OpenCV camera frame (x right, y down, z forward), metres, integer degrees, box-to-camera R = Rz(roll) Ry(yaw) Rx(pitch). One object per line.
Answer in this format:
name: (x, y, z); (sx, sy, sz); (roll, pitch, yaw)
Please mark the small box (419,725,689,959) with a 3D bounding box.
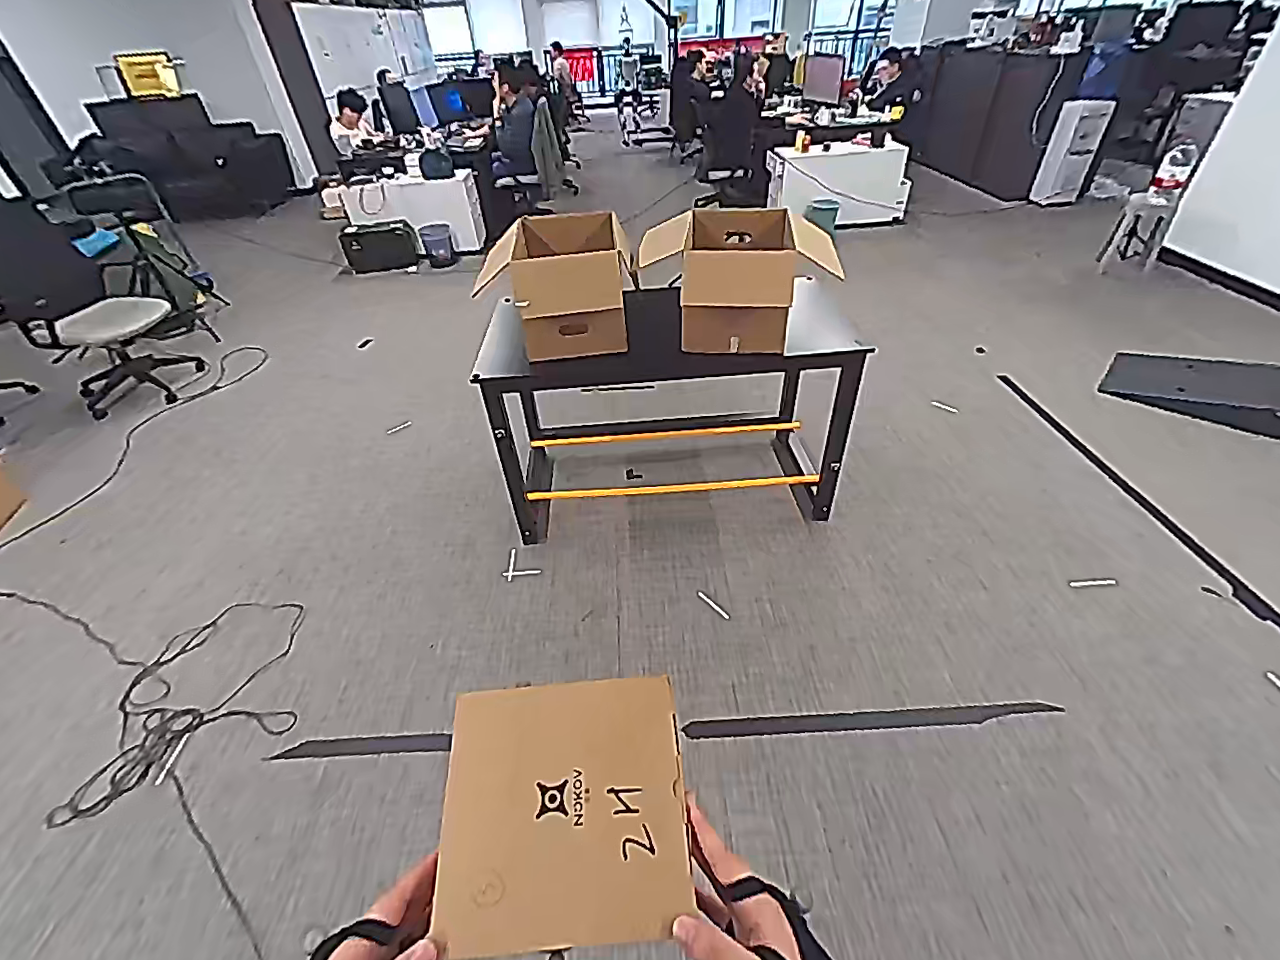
small box: (-0.056, 0.312, 0.440); (0.179, 0.176, 0.168); (-4, 53, -1)
